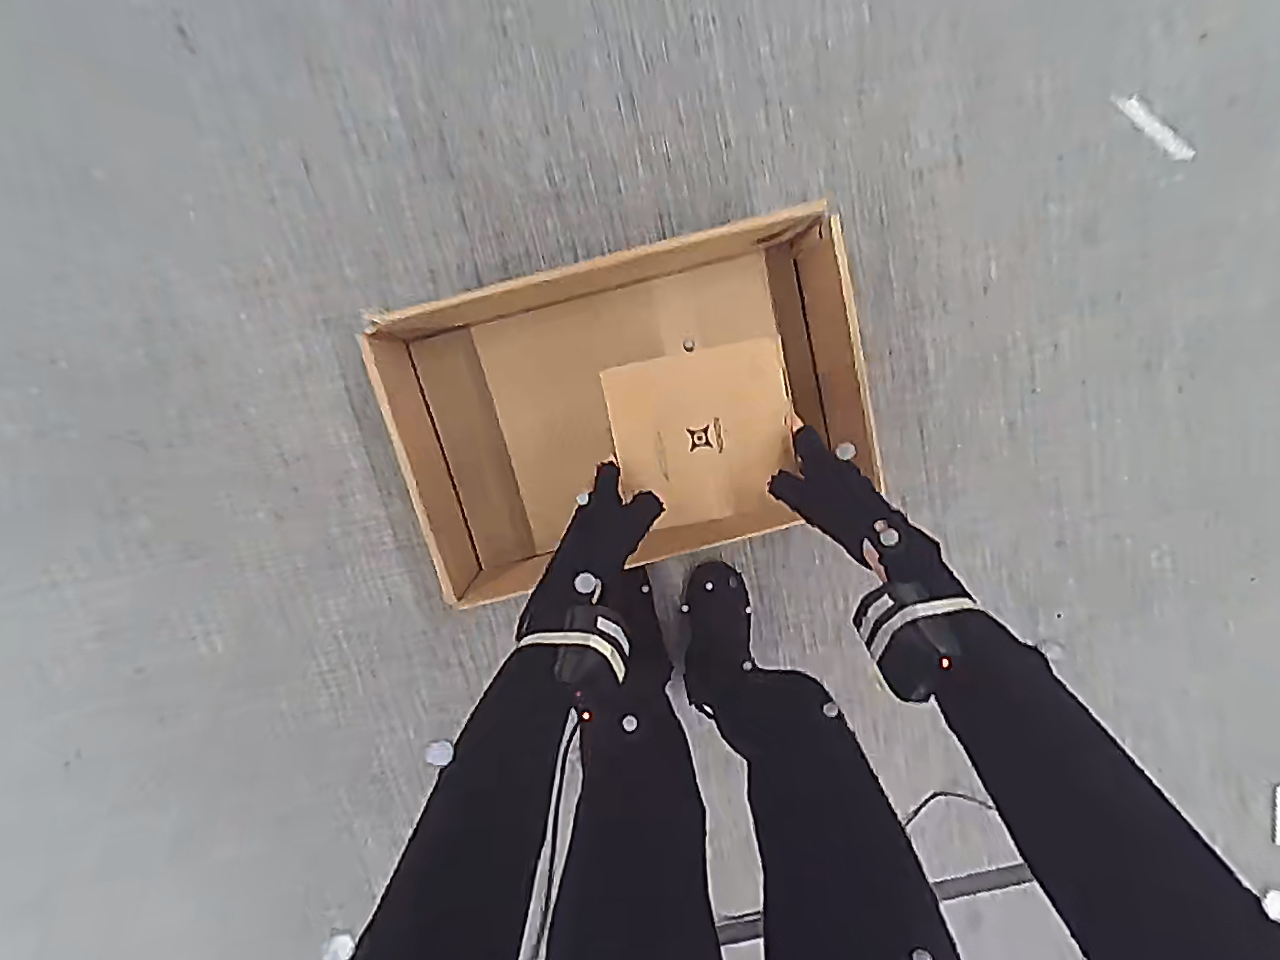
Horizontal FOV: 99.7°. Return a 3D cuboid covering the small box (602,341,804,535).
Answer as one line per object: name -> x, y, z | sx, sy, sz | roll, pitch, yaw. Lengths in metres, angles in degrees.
small box -> 0.063, -0.050, 0.598 | 0.179, 0.176, 0.168 | -11, 98, 3
